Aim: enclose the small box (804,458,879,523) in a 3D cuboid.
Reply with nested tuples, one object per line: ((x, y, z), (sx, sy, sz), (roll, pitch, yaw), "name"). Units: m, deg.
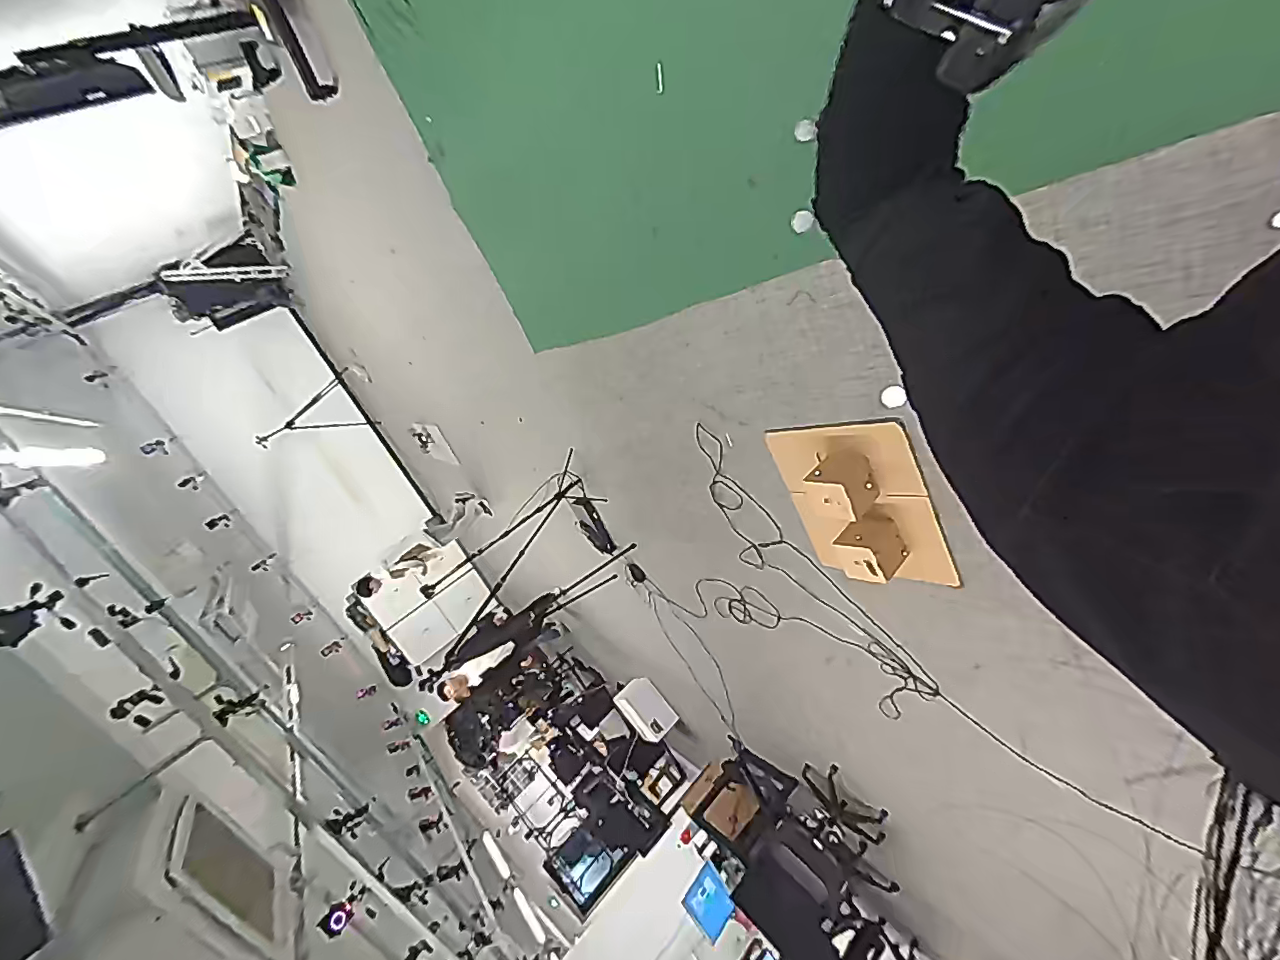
((0.737, 0.032, 1.971), (0.179, 0.176, 0.168), (6, 129, 54), "small box")

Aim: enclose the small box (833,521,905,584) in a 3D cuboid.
((0.872, 0.267, 2.039), (0.179, 0.176, 0.168), (-2, 122, 59), "small box")
